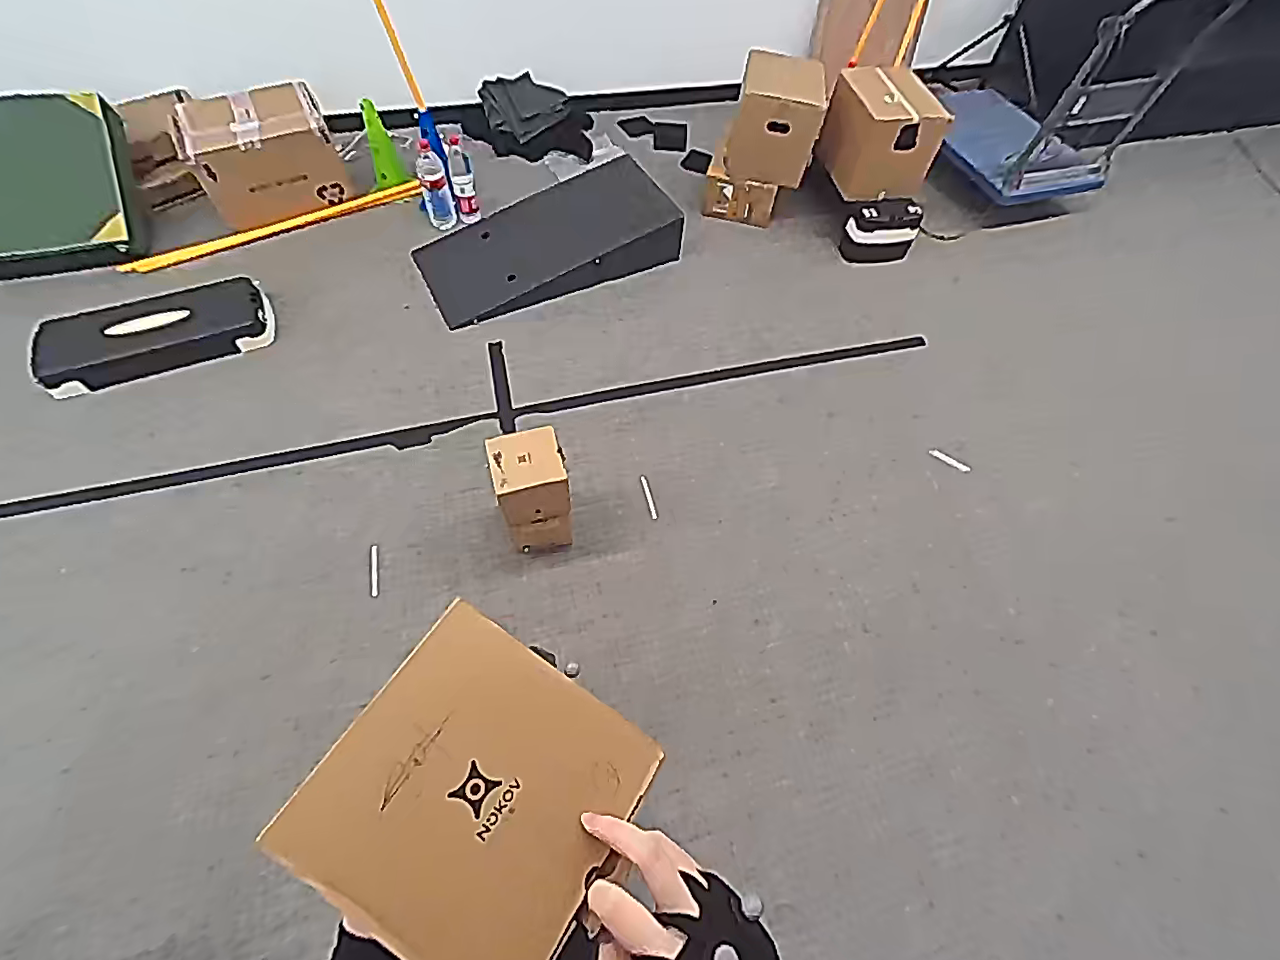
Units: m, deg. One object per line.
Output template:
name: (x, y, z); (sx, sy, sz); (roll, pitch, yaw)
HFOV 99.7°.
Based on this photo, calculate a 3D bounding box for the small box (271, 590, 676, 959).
small box: (-0.105, 0.208, 0.394); (0.179, 0.176, 0.168); (36, 65, 4)

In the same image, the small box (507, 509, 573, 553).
small box: (-0.284, 0.092, 1.516); (0.168, 0.176, 0.179); (-9, 58, -10)

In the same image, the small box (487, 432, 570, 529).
small box: (-0.280, 0.003, 1.377); (0.179, 0.176, 0.168); (-12, 59, -13)
